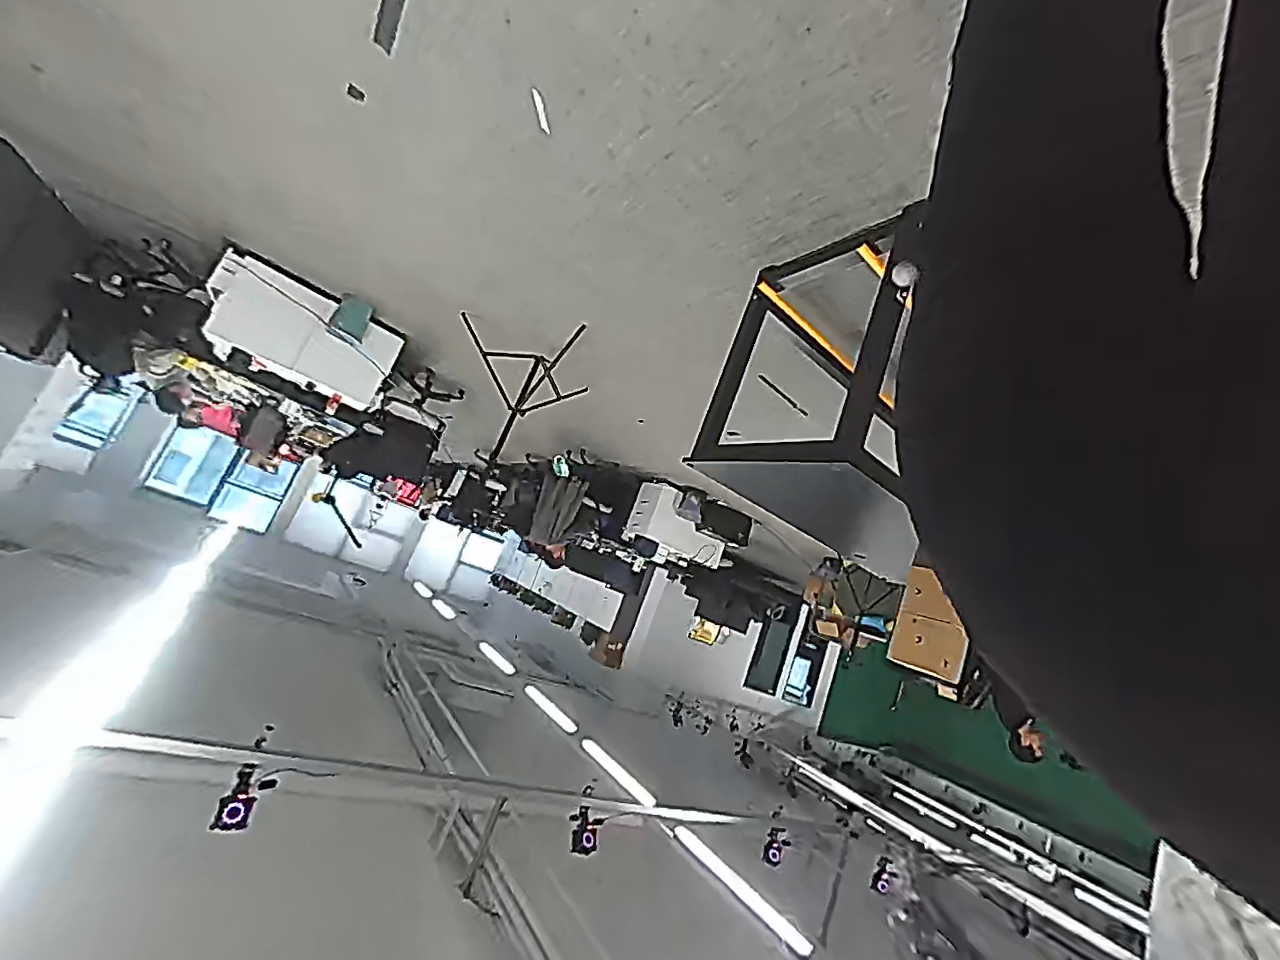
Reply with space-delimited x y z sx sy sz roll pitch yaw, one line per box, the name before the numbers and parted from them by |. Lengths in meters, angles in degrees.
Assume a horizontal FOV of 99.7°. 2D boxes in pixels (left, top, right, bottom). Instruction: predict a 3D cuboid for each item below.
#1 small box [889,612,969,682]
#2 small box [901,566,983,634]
small box | 0.970 0.555 1.813 0.179 0.176 0.168 27 168 -34
small box | 1.028 0.402 1.836 0.168 0.176 0.179 27 166 -34
